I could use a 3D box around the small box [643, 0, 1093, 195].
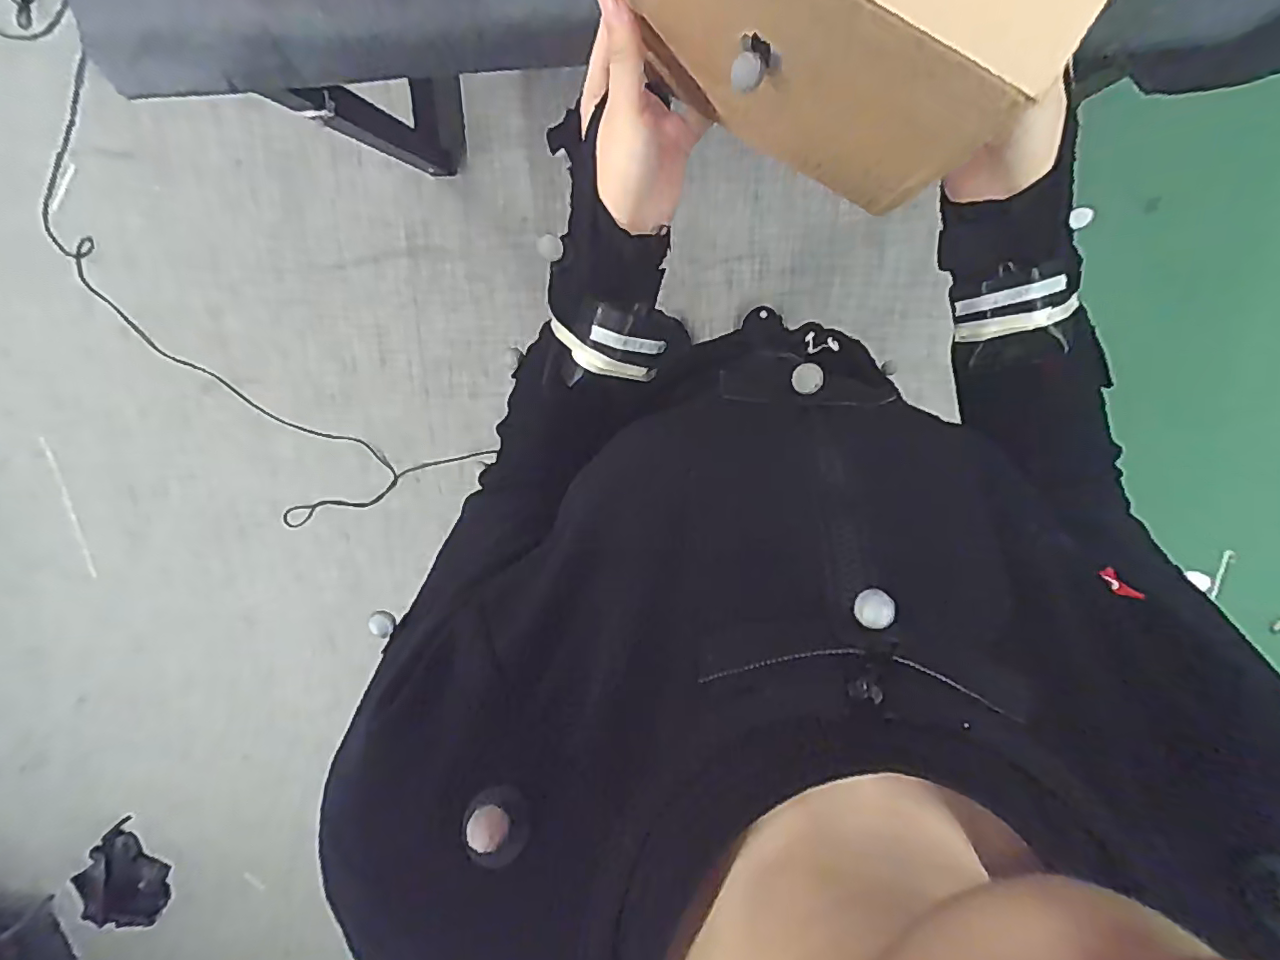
[{"bbox_3d":[0.106,-0.257,0.235,0.179,0.176,0.168,30,106,1],"label":"small box"}]
